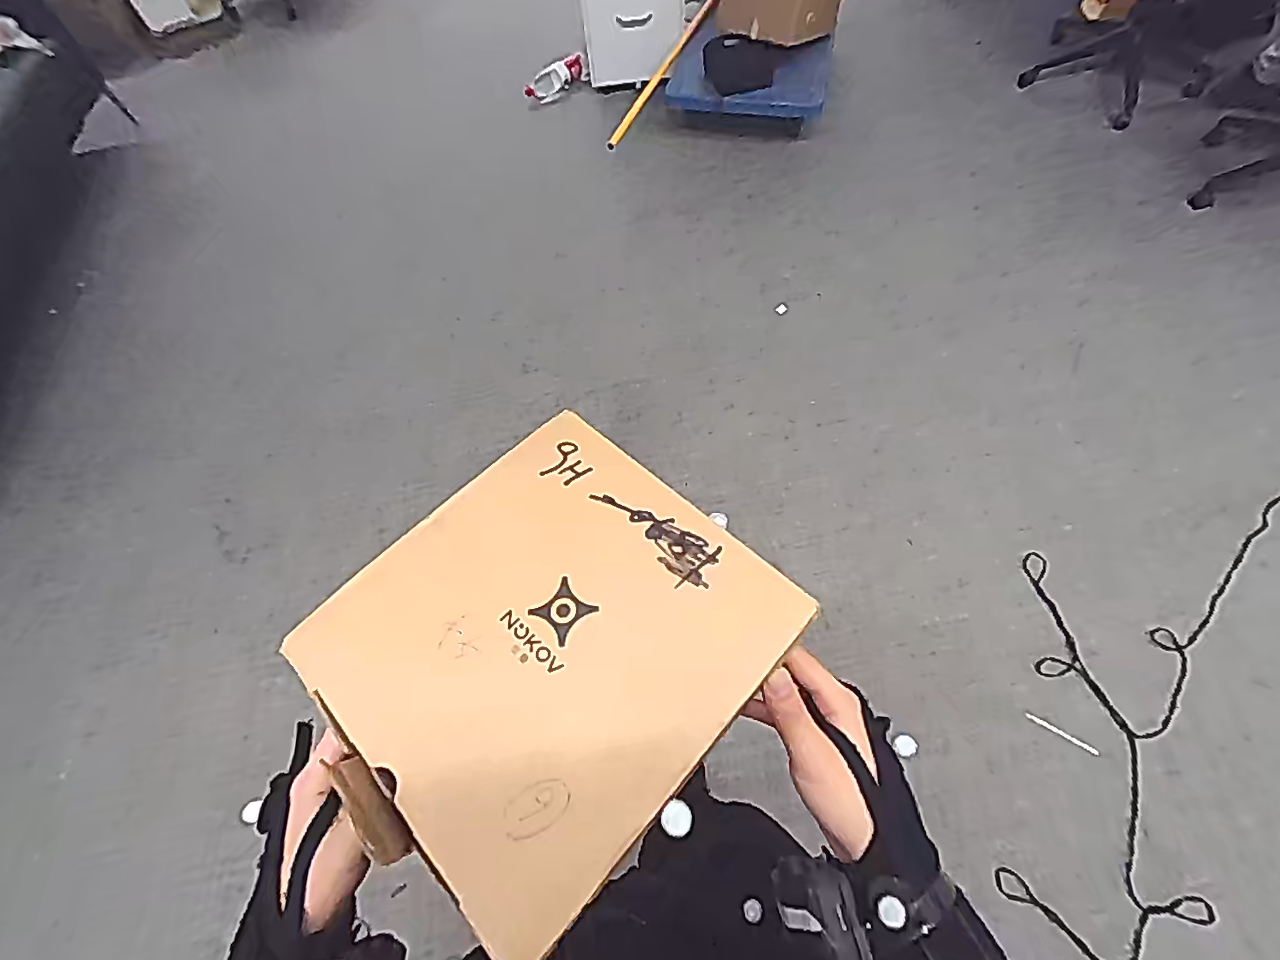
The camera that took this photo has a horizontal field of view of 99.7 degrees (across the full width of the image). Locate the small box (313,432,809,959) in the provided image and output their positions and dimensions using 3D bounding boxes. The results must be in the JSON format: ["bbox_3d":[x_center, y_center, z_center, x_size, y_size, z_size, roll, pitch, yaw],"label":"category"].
[{"bbox_3d":[-0.032,0.113,0.315,0.168,0.176,0.179,38,68,24],"label":"small box"}]
